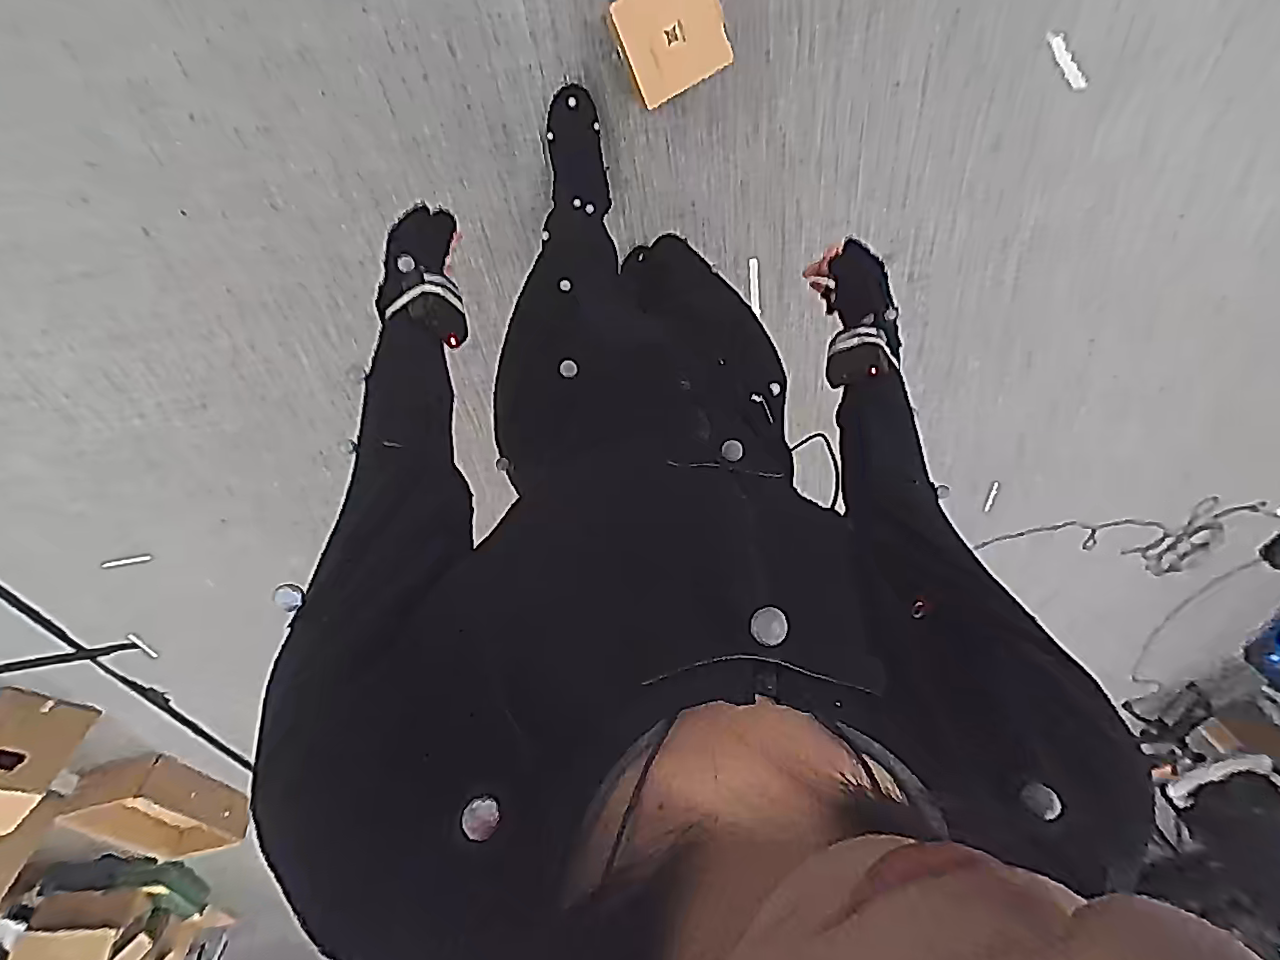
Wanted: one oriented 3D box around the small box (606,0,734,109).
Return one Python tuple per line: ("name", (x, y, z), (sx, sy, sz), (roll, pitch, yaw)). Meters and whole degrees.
("small box", (0.049, -0.824, 0.996), (0.179, 0.176, 0.168), (-25, 127, 12))
